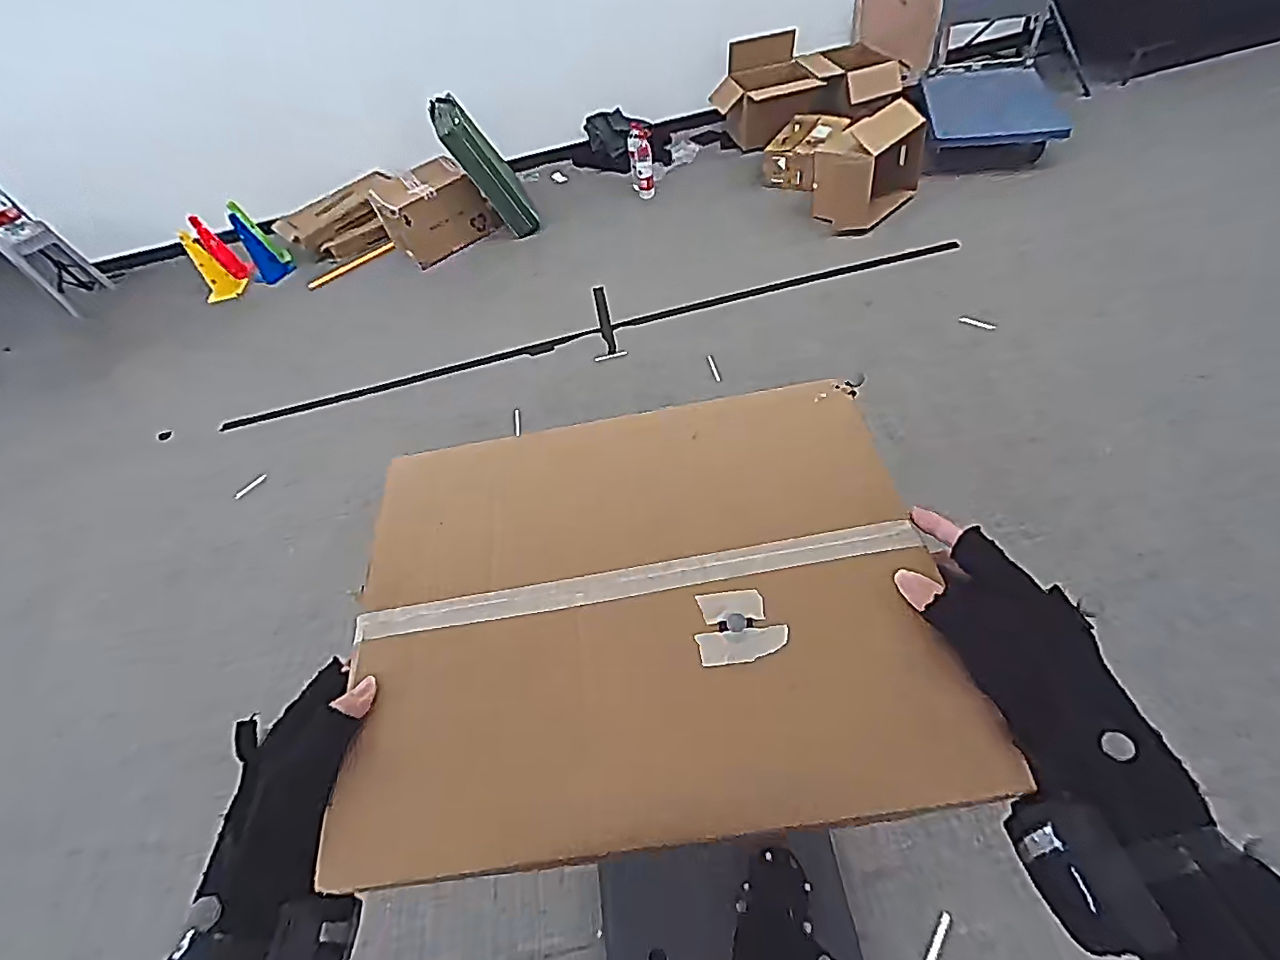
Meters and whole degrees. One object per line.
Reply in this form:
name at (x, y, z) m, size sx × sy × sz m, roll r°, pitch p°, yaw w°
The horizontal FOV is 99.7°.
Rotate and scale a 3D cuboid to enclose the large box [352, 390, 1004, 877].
large box at (0.018, 0.162, 0.525) m, size 0.408 × 0.320 × 0.320 m, roll -10°, pitch 56°, yaw 2°
